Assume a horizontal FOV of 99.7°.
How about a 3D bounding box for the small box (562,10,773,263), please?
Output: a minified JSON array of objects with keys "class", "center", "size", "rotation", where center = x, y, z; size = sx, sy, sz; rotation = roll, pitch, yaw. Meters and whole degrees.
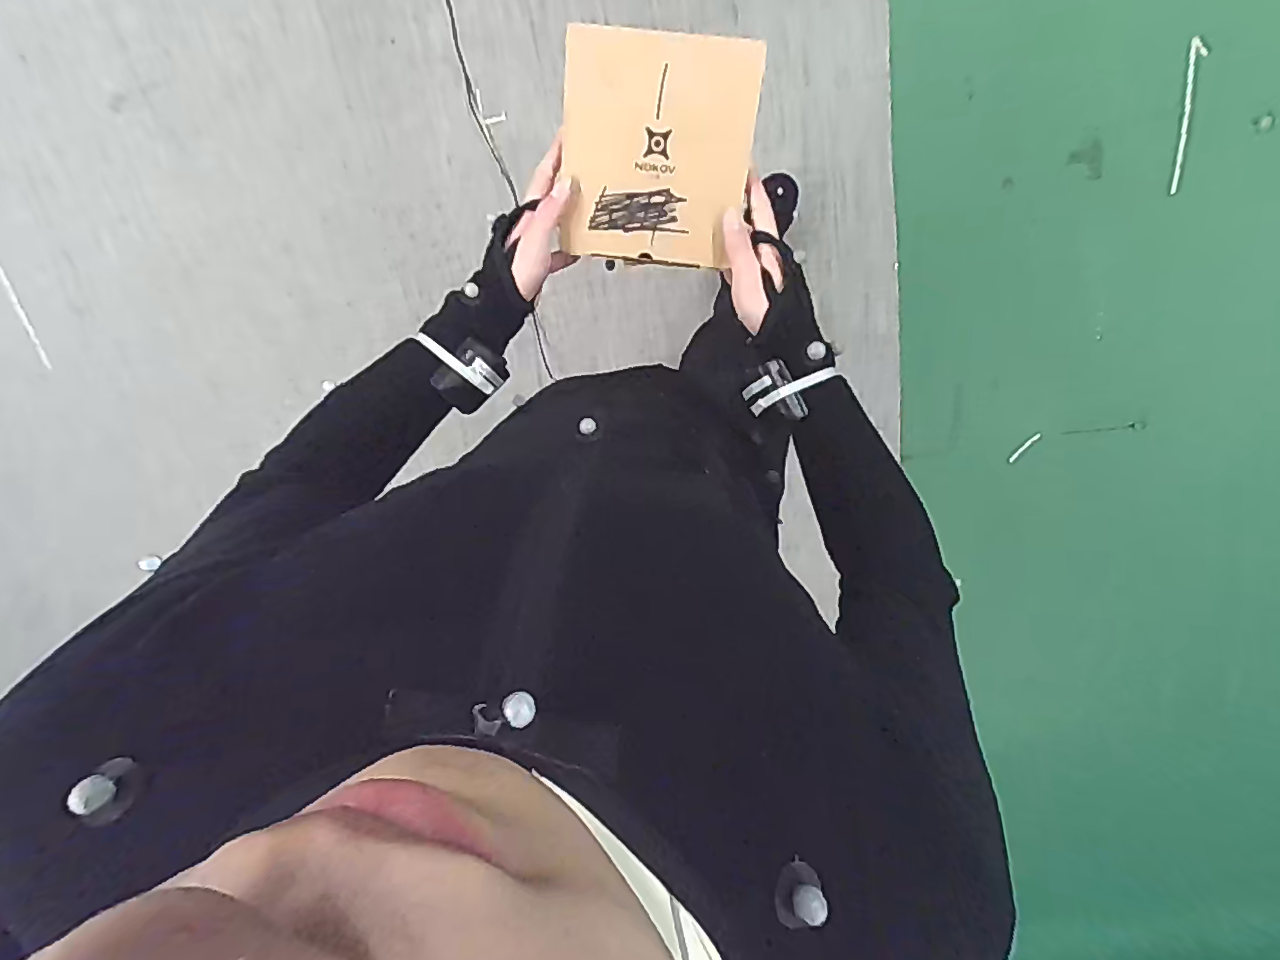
[{"class":"small box","center":[0.024,-0.319,0.538],"size":[0.168,0.176,0.179],"rotation":[7,112,1]}]
